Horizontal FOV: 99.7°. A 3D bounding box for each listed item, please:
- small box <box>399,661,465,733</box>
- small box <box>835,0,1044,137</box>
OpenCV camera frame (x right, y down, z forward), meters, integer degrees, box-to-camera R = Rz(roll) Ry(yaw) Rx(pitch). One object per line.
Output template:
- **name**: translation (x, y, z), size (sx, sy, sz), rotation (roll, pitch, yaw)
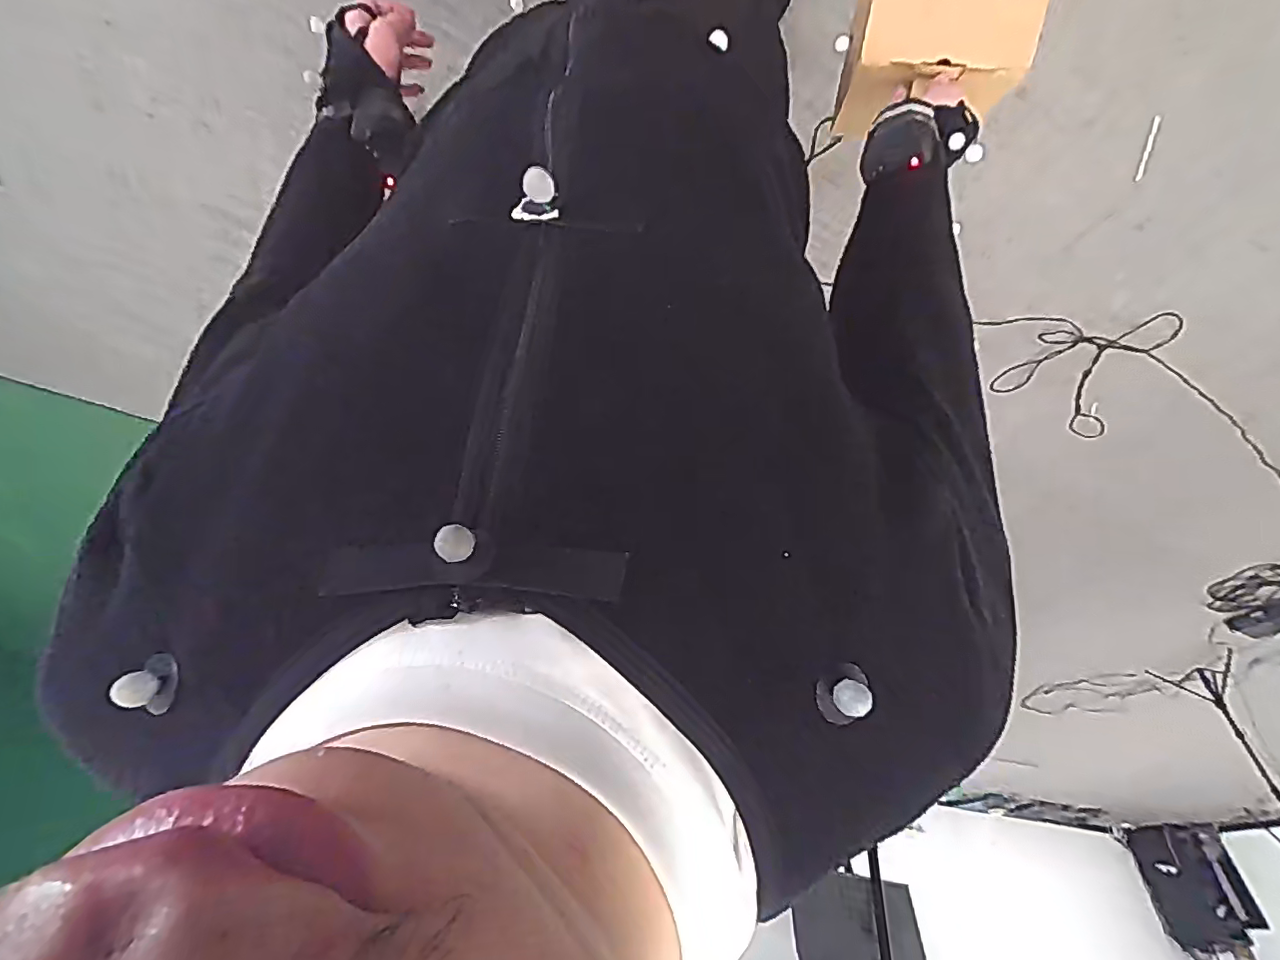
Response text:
- **small box**: translation (-0.684, 0.716, 1.786), size (0.168, 0.176, 0.179), rotation (15, 138, -12)
- **small box**: translation (0.327, -0.515, 0.602), size (0.168, 0.176, 0.179), rotation (11, 101, 7)
